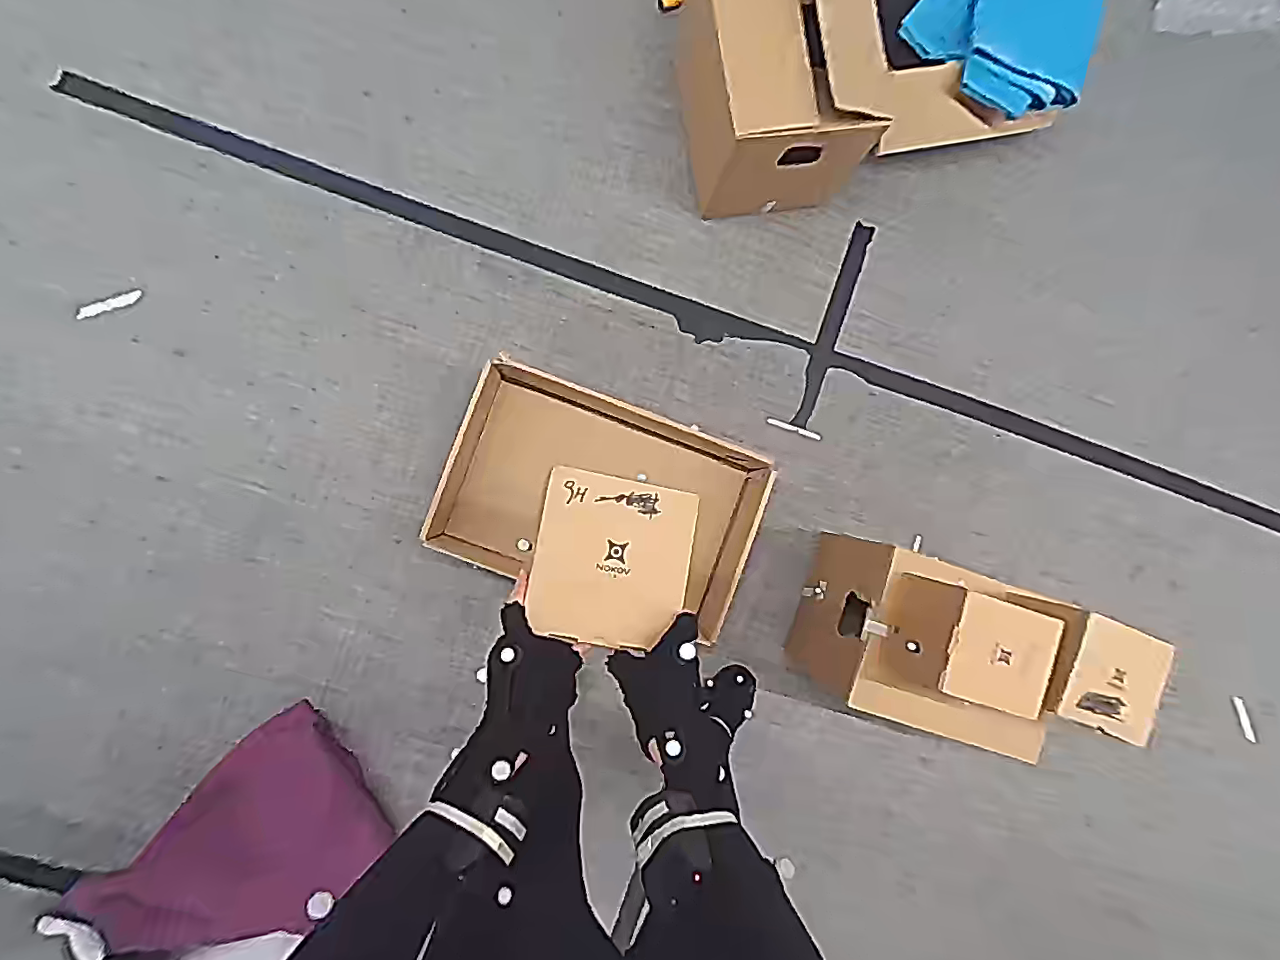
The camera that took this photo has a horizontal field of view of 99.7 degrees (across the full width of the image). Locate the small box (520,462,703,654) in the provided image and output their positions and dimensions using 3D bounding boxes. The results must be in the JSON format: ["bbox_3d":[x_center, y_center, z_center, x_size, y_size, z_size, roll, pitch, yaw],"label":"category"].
[{"bbox_3d":[-0.042,0.091,0.643,0.168,0.176,0.179,13,81,-11],"label":"small box"}]

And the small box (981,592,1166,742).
[{"bbox_3d":[0.744,0.316,0.948,0.168,0.176,0.179,23,85,-5],"label":"small box"}]

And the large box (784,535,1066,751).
[{"bbox_3d":[0.587,0.327,1.176,0.408,0.320,0.320,18,88,-7],"label":"large box"}]
